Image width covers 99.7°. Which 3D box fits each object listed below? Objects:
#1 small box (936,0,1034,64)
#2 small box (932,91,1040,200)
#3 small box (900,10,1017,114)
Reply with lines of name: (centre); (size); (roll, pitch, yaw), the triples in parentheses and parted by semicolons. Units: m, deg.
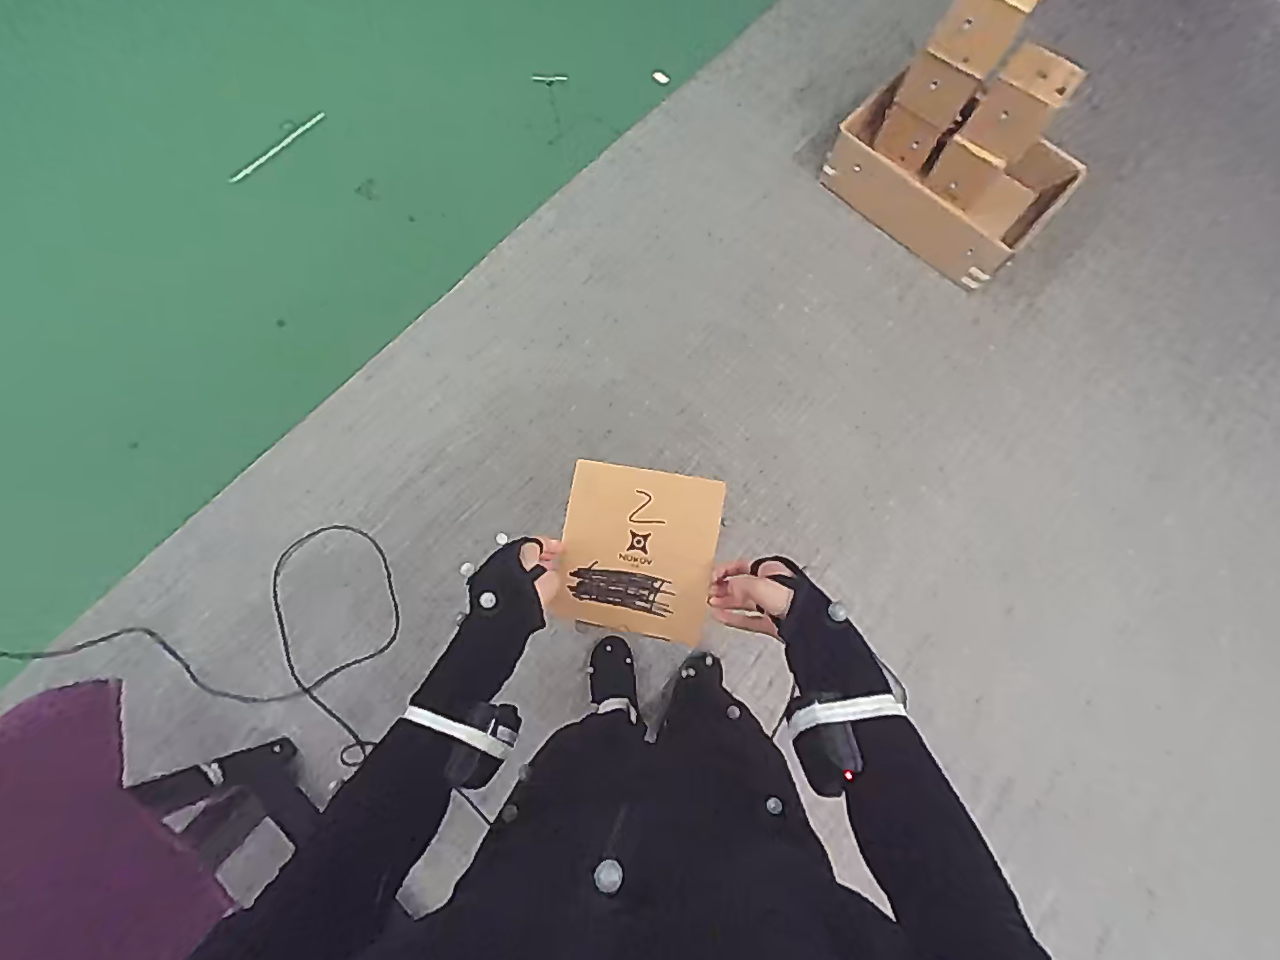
small box: (0.848, -1.156, 1.292); (0.168, 0.176, 0.179); (35, 79, 7)
small box: (1.001, -0.973, 1.583); (0.168, 0.176, 0.179); (42, 80, 12)
small box: (0.847, -1.134, 1.454); (0.179, 0.176, 0.168); (38, 80, 9)
